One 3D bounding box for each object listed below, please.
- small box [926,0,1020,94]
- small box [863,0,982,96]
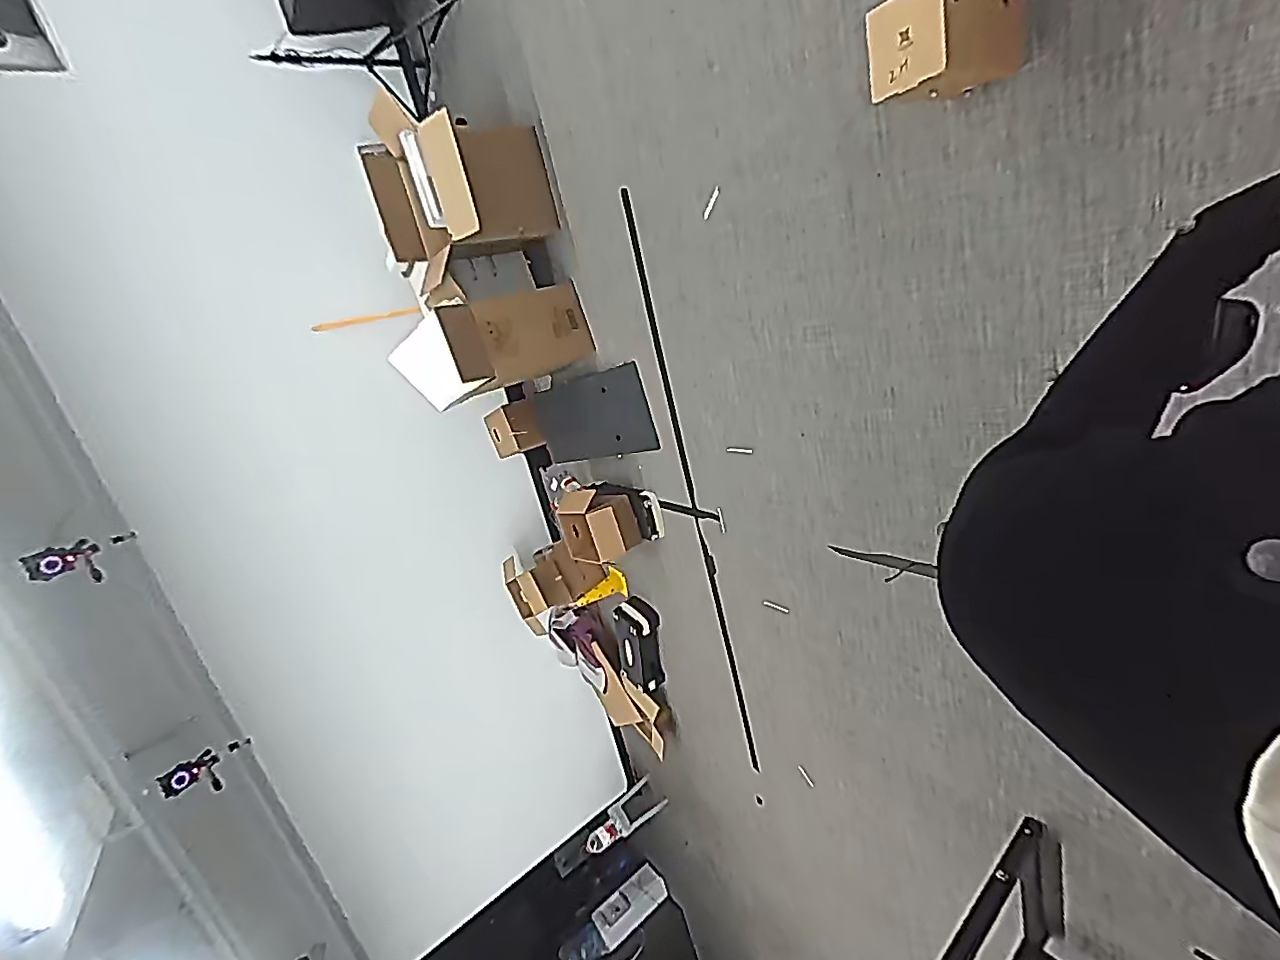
[{"bbox_3d":[0.735,-1.009,1.228,0.168,0.176,0.179,15,122,54],"label":"small box"},{"bbox_3d":[0.602,-0.948,1.152,0.168,0.176,0.179,14,123,54],"label":"small box"}]
